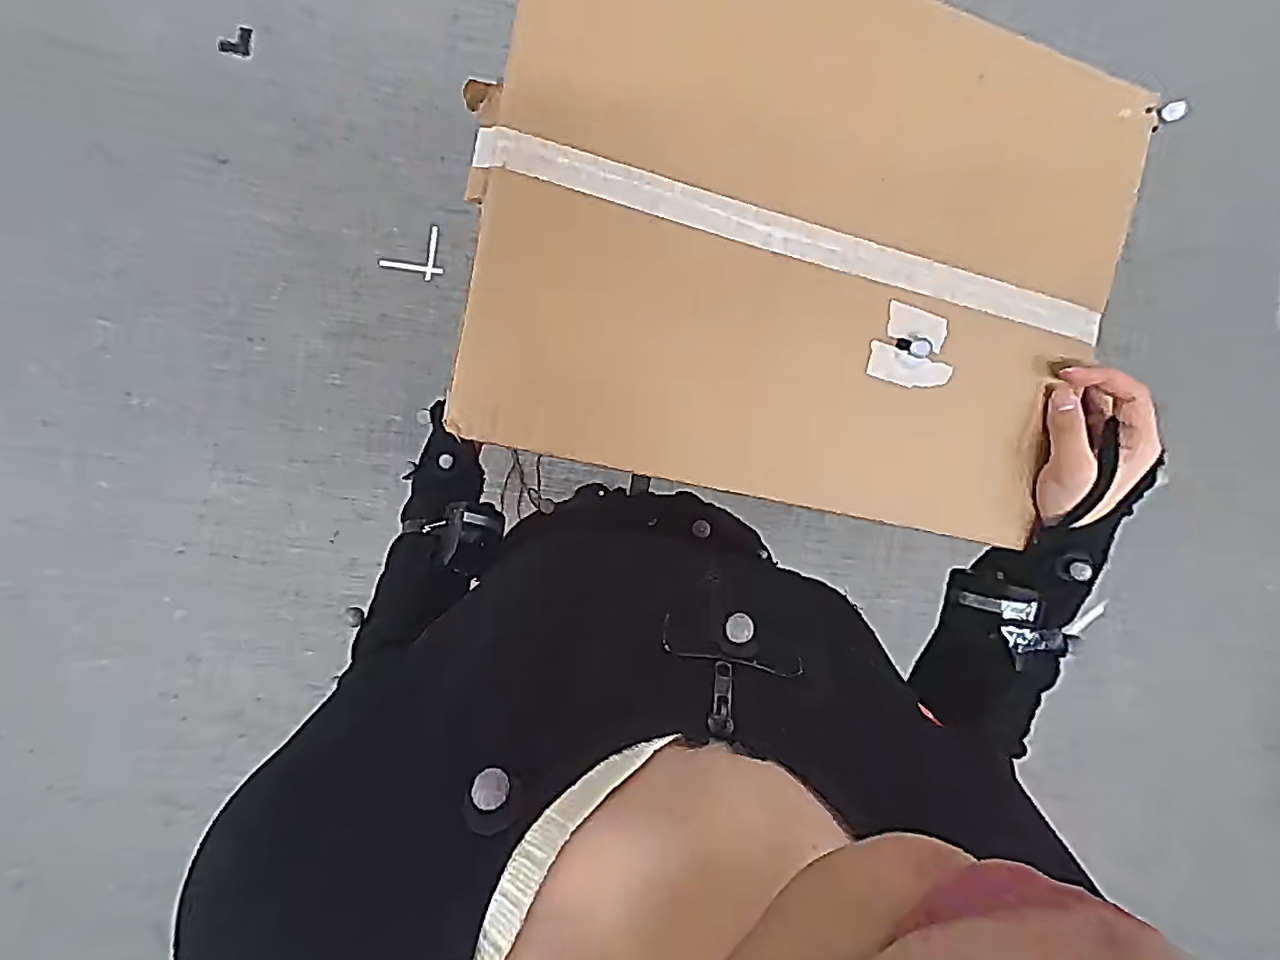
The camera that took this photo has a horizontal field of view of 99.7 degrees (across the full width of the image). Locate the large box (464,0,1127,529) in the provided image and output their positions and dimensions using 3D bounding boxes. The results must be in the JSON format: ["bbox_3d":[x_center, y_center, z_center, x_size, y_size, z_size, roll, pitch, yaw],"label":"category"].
[{"bbox_3d":[0.085,-0.163,0.482,0.408,0.320,0.320,11,96,-13],"label":"large box"}]
